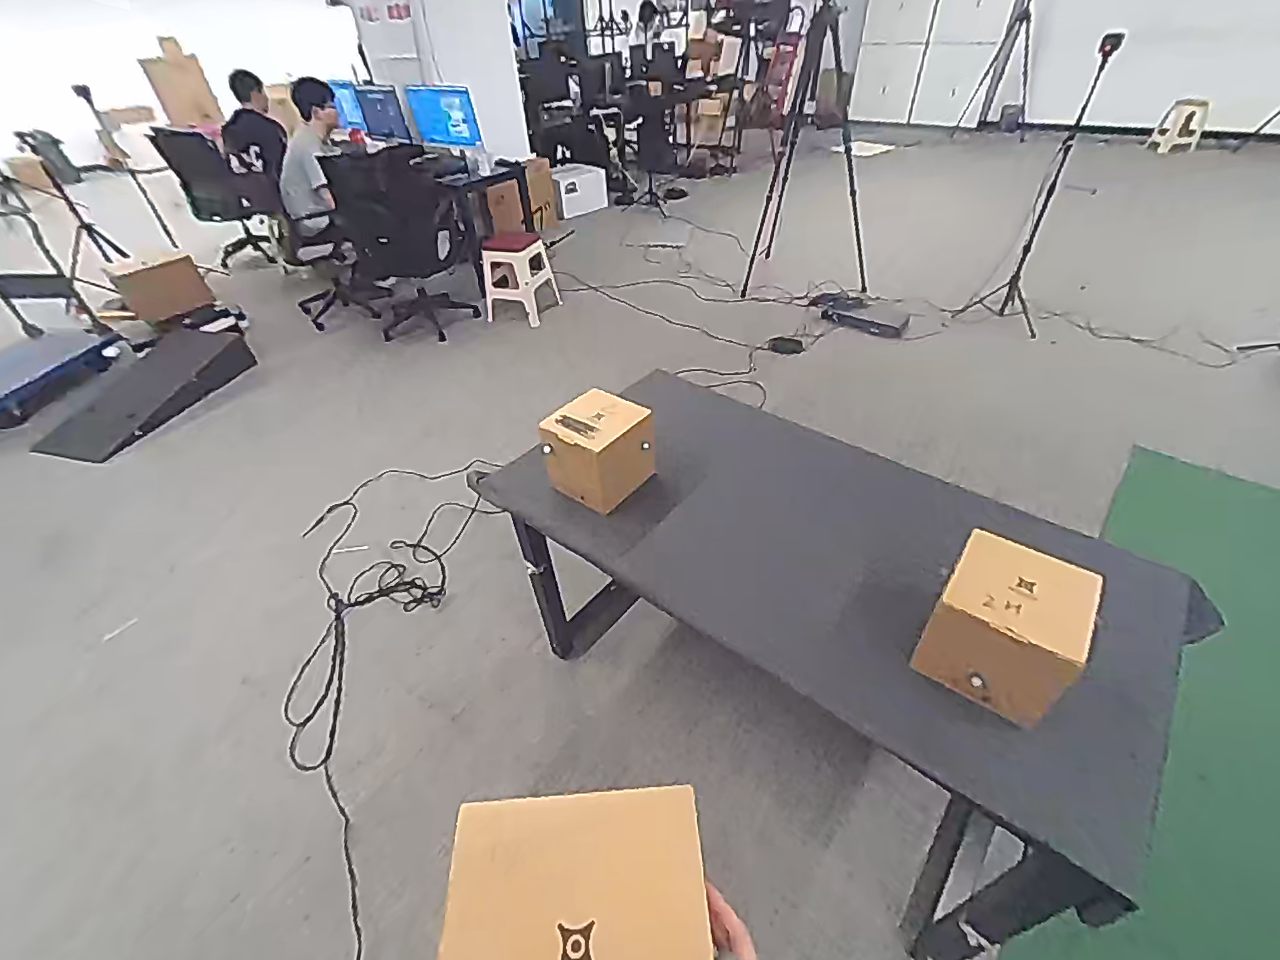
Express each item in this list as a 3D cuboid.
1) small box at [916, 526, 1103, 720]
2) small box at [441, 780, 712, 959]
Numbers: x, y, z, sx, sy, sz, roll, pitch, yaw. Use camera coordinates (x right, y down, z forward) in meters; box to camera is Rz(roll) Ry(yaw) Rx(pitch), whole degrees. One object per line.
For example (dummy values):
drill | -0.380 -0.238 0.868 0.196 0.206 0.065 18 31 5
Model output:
small box | 0.530 0.205 0.791 0.168 0.176 0.179 25 49 31
small box | -0.038 0.341 0.385 0.168 0.176 0.179 -4 45 -2
